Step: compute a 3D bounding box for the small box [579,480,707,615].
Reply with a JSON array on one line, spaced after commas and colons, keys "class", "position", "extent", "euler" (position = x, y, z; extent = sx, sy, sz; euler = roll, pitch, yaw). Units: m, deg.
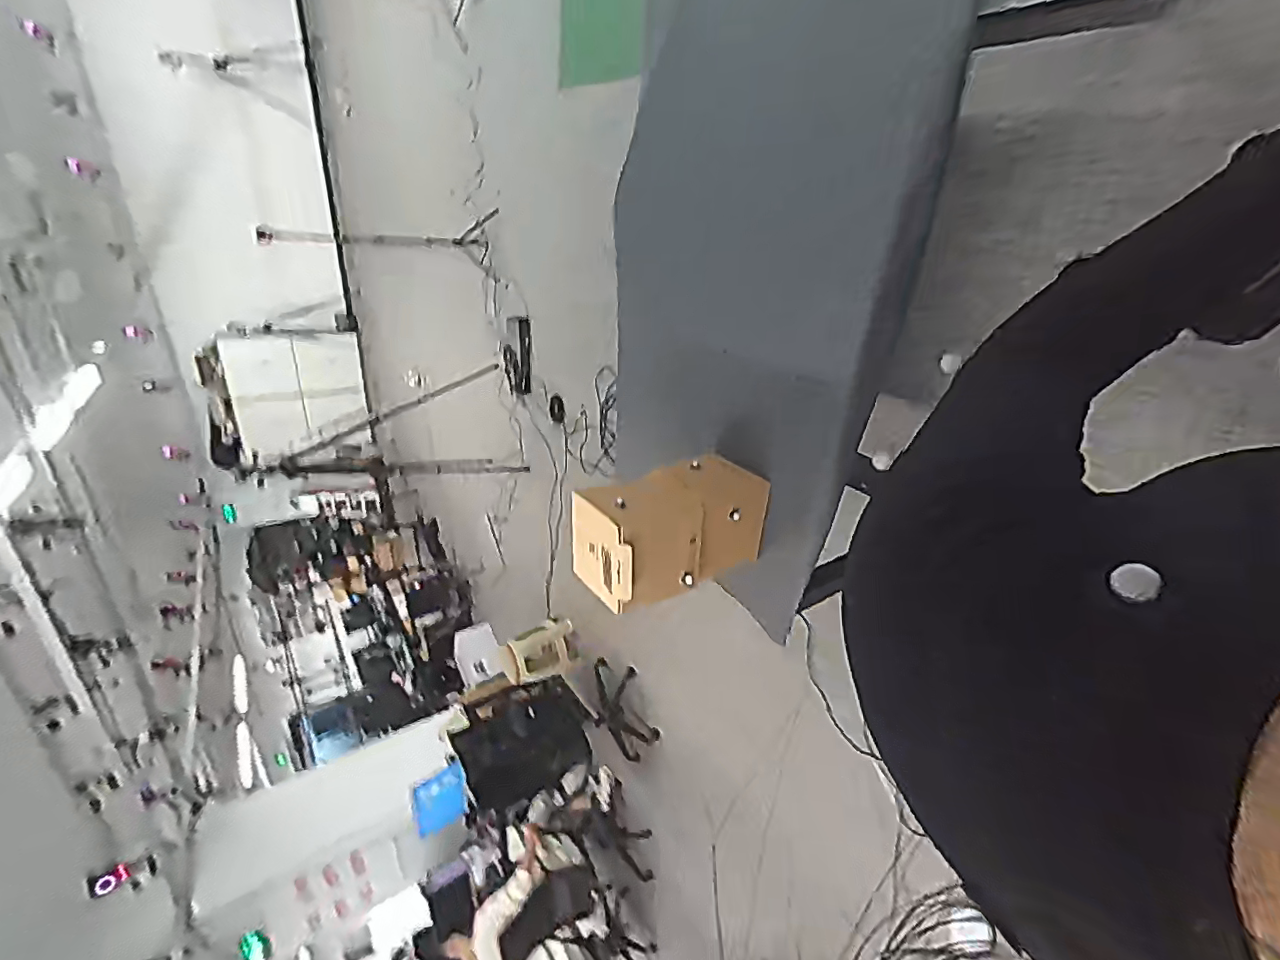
[{"class": "small box", "position": [0.004, 0.109, 0.973], "extent": [0.179, 0.176, 0.168], "euler": [31, 125, 52]}]

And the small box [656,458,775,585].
[{"class": "small box", "position": [0.140, 0.070, 1.056], "extent": [0.168, 0.176, 0.179], "euler": [35, 130, 49]}]
